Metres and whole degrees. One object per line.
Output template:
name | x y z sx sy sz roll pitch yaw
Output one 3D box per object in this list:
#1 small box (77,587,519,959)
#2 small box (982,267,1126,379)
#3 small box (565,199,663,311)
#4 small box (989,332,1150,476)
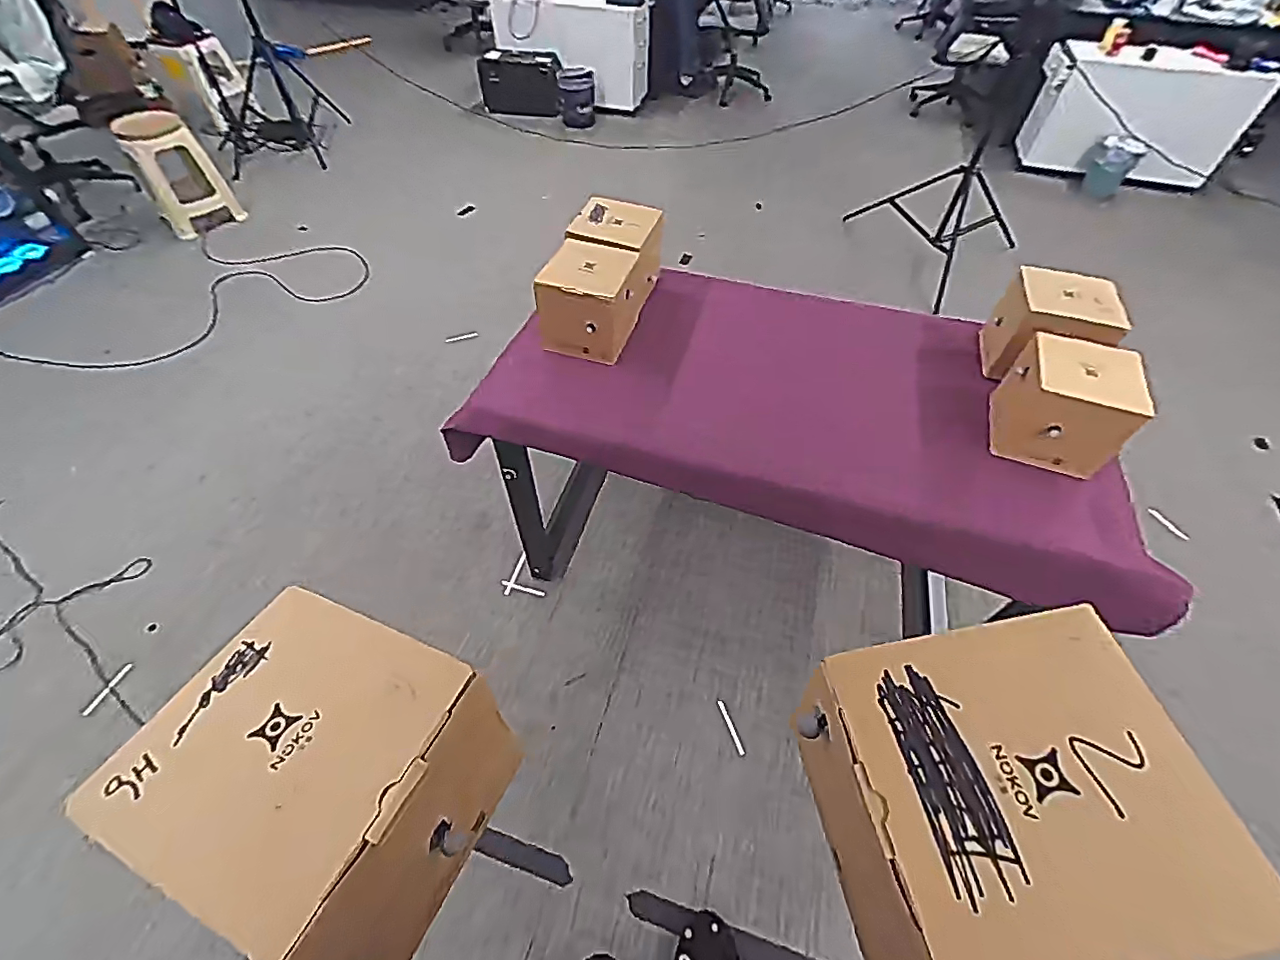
small box | -0.209 0.213 0.390 0.179 0.176 0.168 17 49 17
small box | 0.829 -0.307 1.111 0.179 0.176 0.168 16 54 10
small box | -0.058 -0.516 1.253 0.179 0.176 0.168 17 55 10
small box | 0.763 -0.135 0.984 0.168 0.176 0.179 18 53 13
